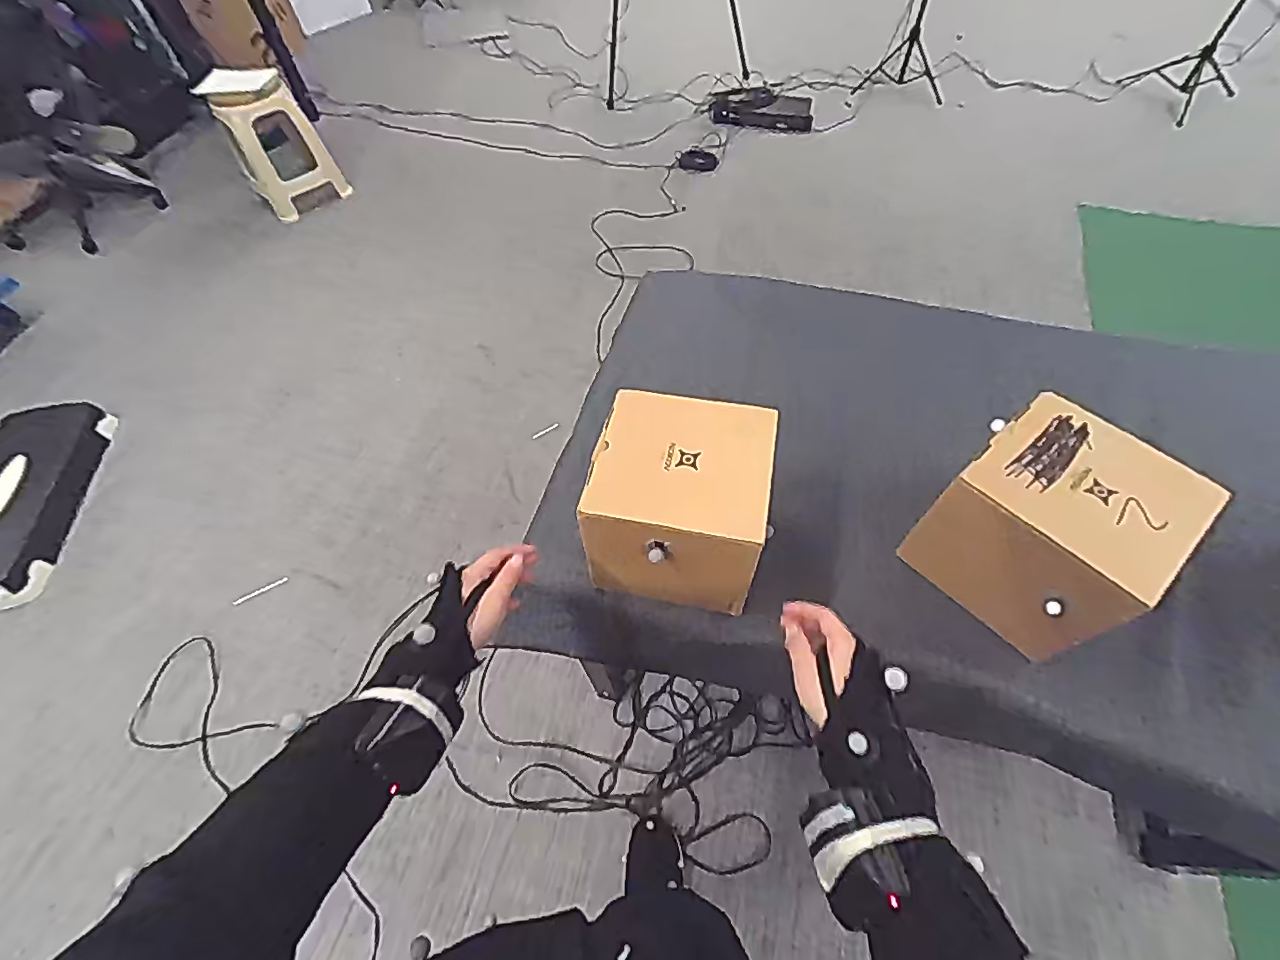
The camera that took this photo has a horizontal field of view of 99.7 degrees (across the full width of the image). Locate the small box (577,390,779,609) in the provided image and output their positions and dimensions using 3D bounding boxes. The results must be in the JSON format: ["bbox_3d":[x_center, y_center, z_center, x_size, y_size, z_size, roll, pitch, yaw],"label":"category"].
[{"bbox_3d":[0.047,0.027,0.596,0.179,0.176,0.168,9,54,10],"label":"small box"}]
